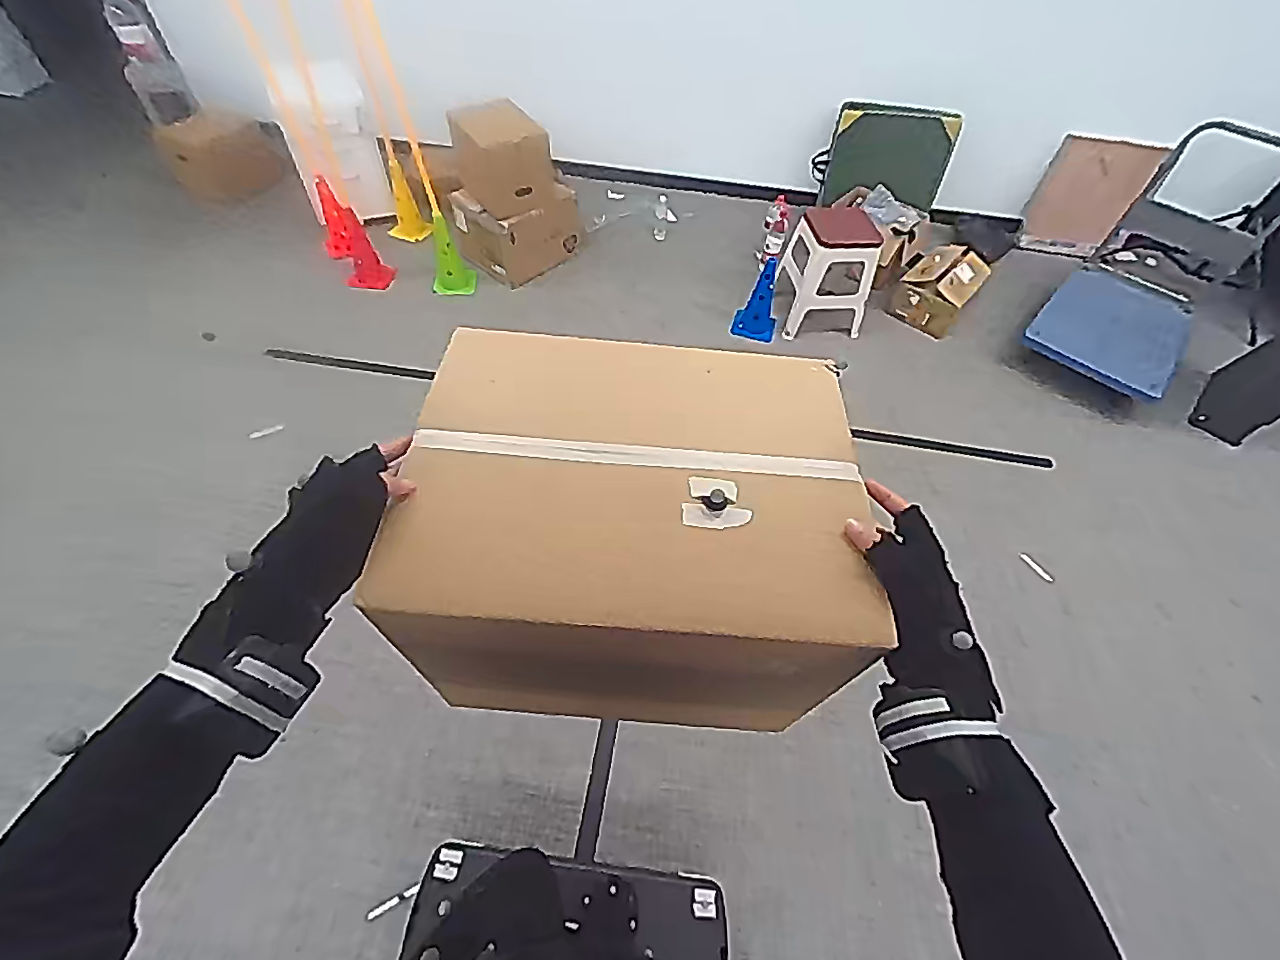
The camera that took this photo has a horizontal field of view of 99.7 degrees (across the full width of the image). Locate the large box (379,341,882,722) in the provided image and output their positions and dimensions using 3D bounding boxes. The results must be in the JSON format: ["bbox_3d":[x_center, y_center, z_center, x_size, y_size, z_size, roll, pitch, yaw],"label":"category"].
[{"bbox_3d":[-0.010,0.074,0.625,0.408,0.320,0.320,5,55,-2],"label":"large box"}]

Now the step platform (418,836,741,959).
[{"bbox_3d":[-0.123,1.001,1.196,0.684,0.204,0.286,8,54,1],"label":"step platform"}]
